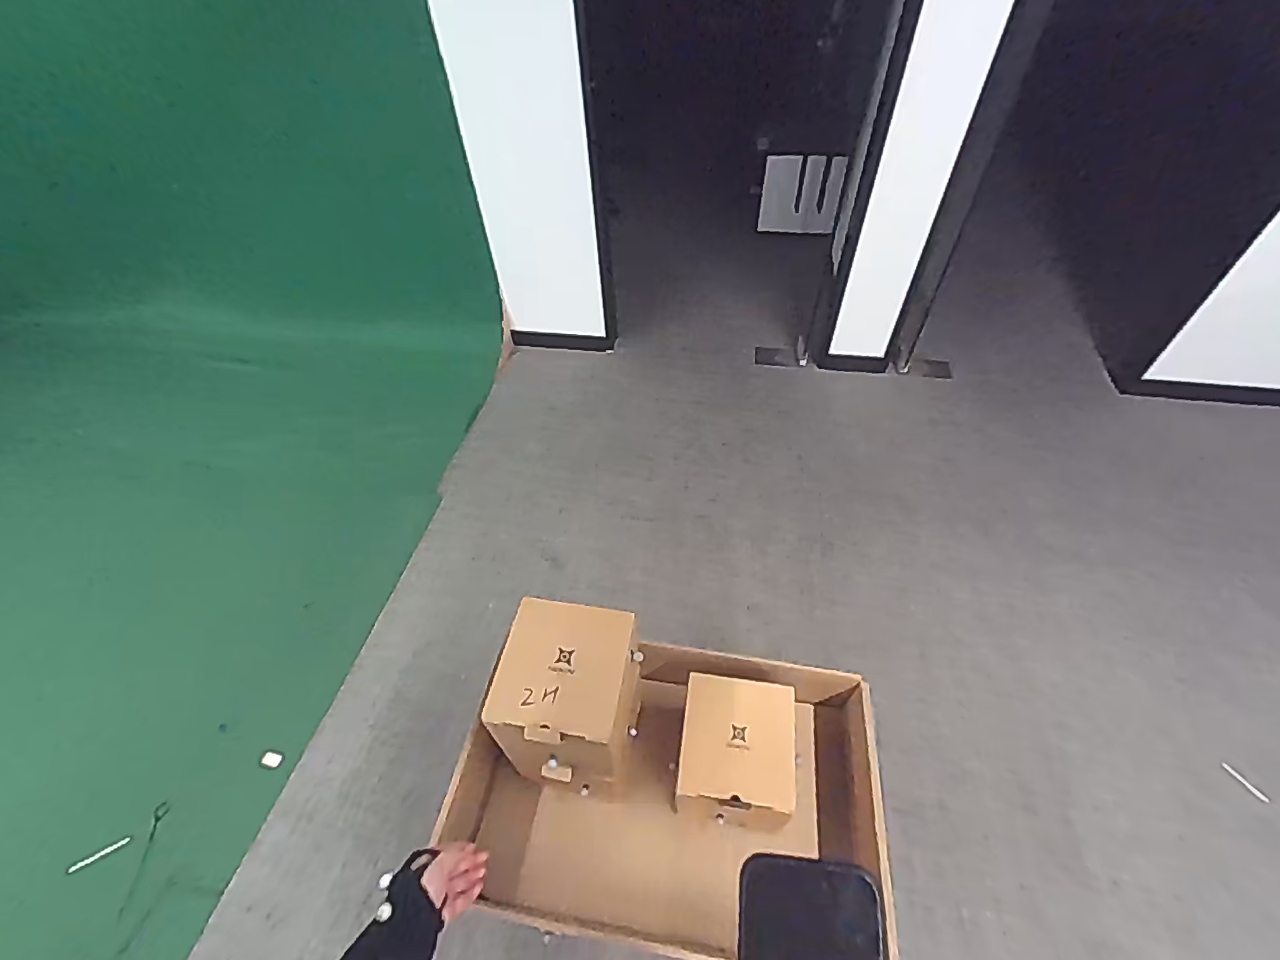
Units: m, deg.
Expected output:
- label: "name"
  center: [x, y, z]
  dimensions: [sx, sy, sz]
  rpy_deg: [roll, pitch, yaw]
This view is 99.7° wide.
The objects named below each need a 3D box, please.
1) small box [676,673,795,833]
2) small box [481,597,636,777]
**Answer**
- label: "small box"
  center: [0.148, 0.432, 0.855]
  dimensions: [0.168, 0.176, 0.179]
  rpy_deg: [5, 50, 9]
- label: "small box"
  center: [-0.101, 0.295, 0.769]
  dimensions: [0.168, 0.176, 0.179]
  rpy_deg: [7, 50, 8]
